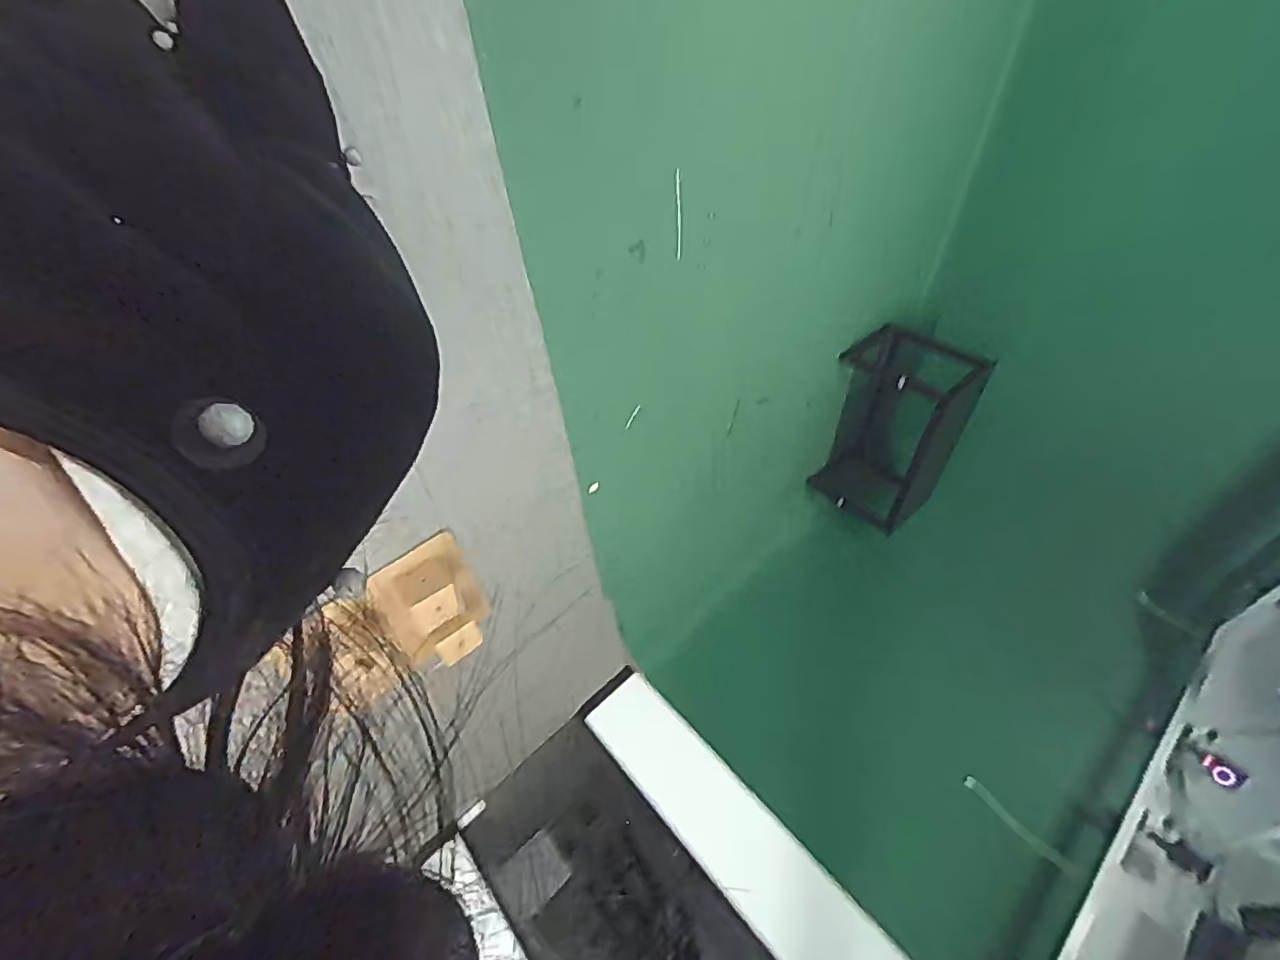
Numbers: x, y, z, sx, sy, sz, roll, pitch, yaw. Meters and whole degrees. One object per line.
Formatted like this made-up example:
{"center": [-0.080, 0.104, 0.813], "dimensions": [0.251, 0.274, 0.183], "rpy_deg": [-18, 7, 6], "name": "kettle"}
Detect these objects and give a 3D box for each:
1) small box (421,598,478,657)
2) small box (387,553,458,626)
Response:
{"center": [-0.783, 0.570, 2.176], "dimensions": [0.168, 0.176, 0.179], "rpy_deg": [-34, 144, -25], "name": "small box"}
{"center": [-0.798, 0.391, 1.981], "dimensions": [0.168, 0.176, 0.179], "rpy_deg": [-31, 142, -28], "name": "small box"}
